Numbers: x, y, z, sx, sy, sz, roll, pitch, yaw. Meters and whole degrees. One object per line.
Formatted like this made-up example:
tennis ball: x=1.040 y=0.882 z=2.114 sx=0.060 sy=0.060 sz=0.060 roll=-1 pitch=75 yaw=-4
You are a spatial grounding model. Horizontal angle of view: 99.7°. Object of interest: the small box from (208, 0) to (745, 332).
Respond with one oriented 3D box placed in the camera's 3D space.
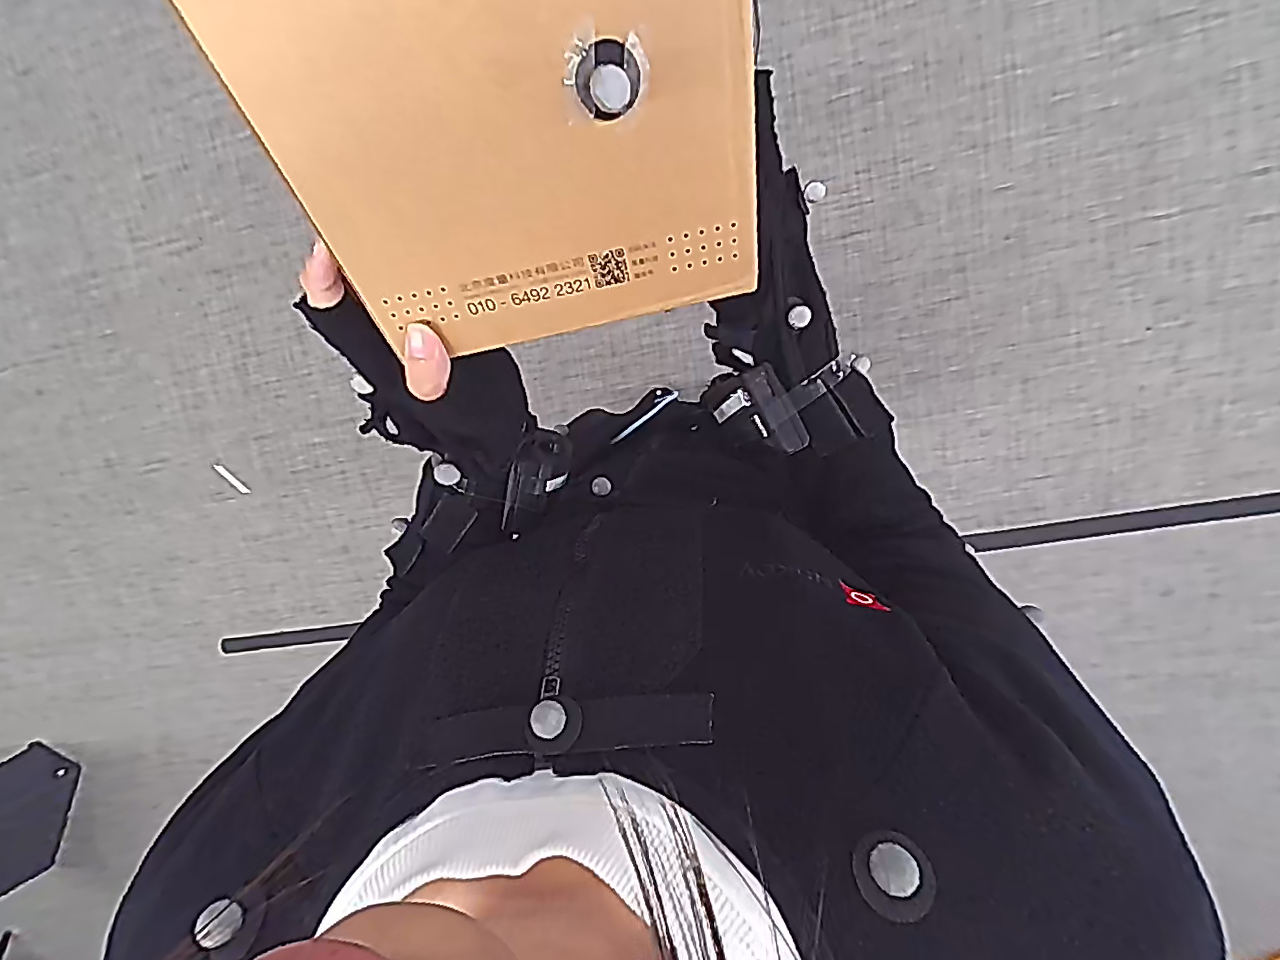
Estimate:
small box: x=-0.048 y=-0.188 z=0.259 sx=0.168 sy=0.179 sz=0.176 roll=-10 pitch=138 yaw=5
